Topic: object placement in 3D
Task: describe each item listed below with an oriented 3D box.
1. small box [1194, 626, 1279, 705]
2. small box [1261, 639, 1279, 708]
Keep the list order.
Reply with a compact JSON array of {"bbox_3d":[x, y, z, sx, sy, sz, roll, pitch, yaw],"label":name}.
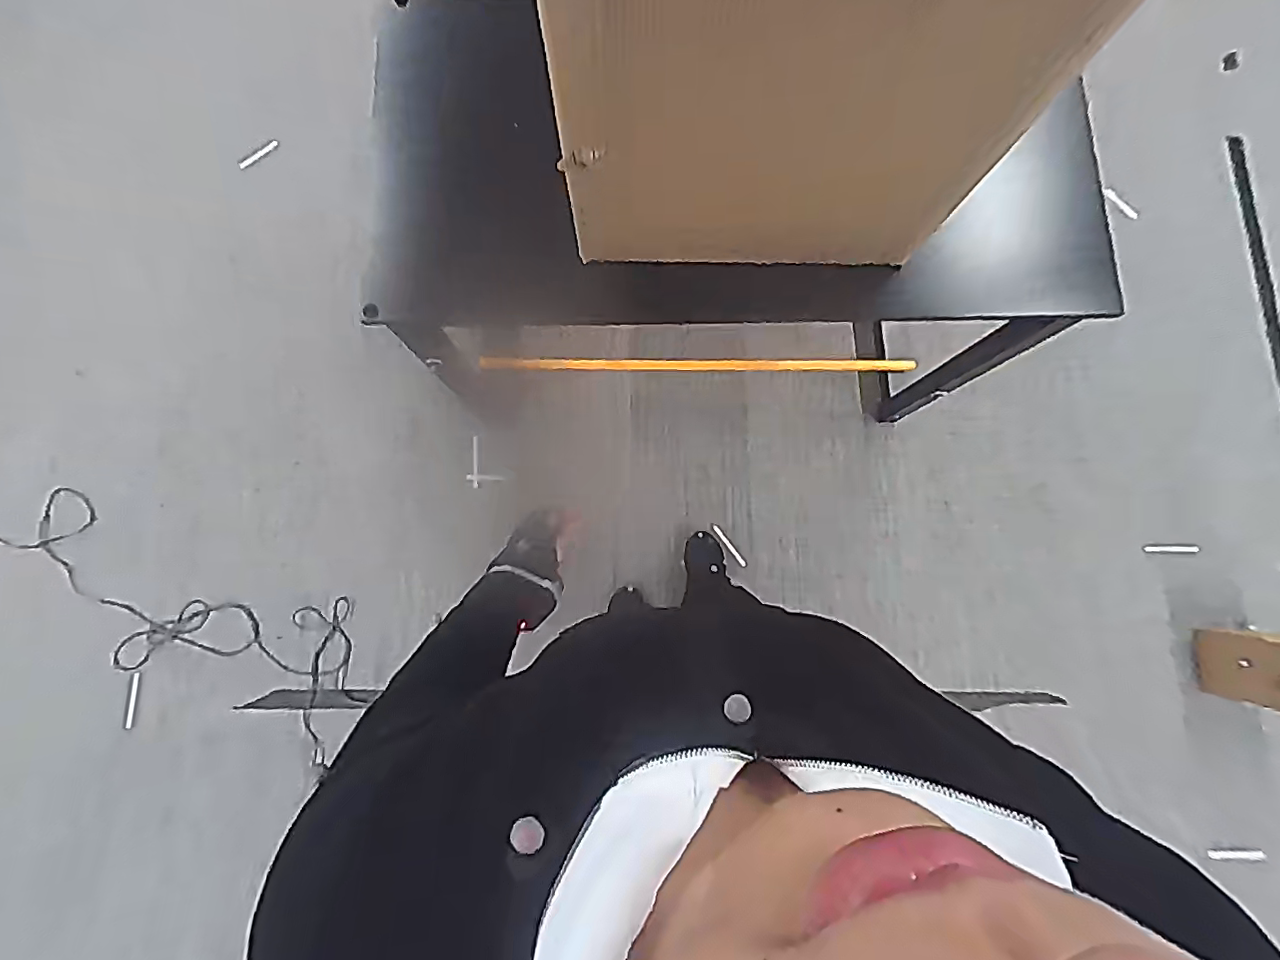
[{"bbox_3d":[1.626,0.486,1.425,0.168,0.176,0.179,3,82,-1],"label":"small box"},{"bbox_3d":[1.634,0.469,1.261,0.179,0.176,0.168,3,81,0],"label":"small box"}]
